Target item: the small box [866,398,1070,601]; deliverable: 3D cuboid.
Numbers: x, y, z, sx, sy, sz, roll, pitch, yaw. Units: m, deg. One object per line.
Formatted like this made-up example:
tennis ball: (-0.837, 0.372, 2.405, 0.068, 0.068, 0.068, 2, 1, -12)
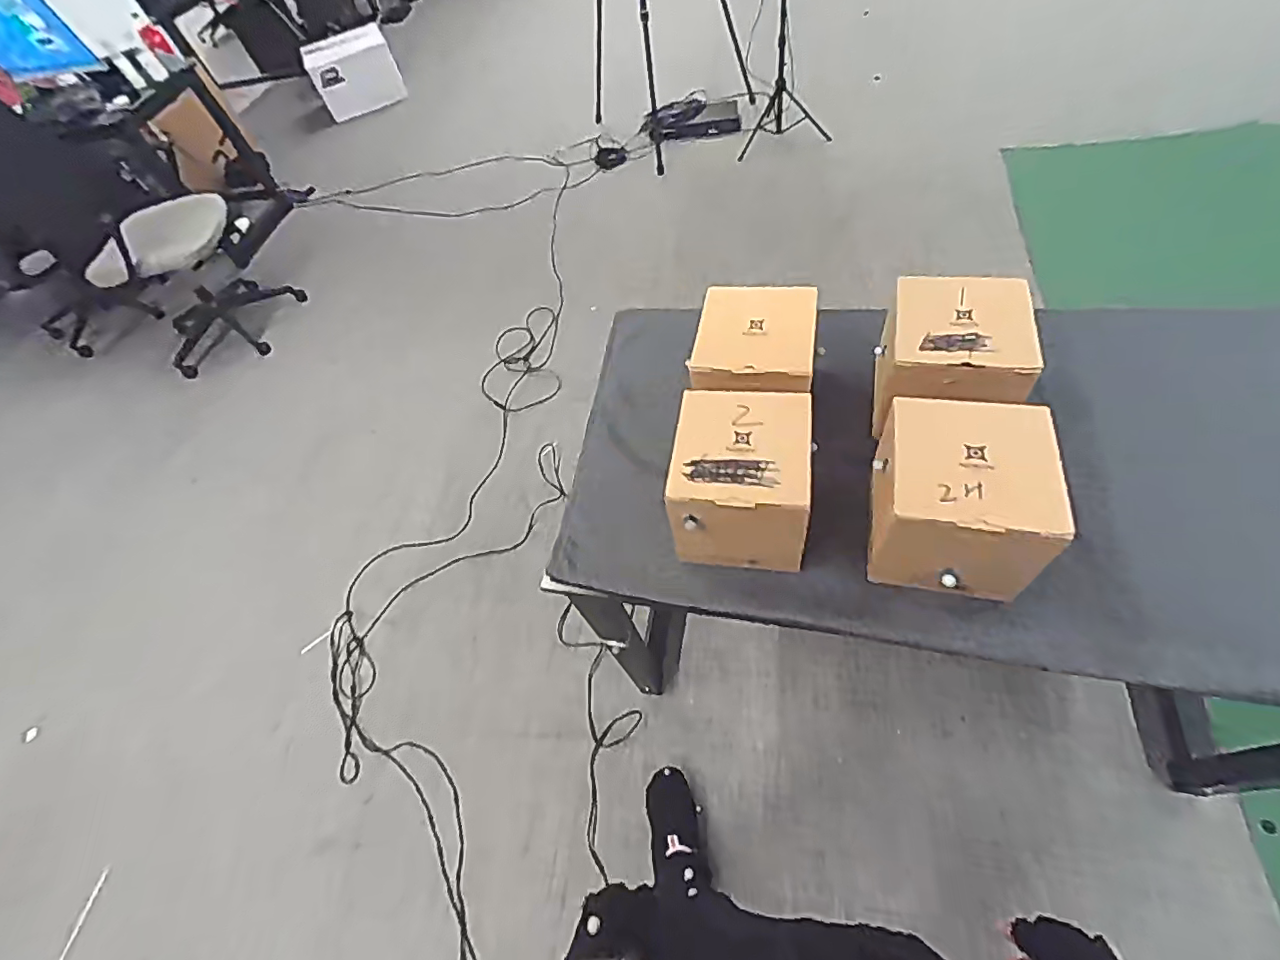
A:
small box: (0.381, 0.025, 0.663, 0.168, 0.176, 0.179, 7, 58, 15)
